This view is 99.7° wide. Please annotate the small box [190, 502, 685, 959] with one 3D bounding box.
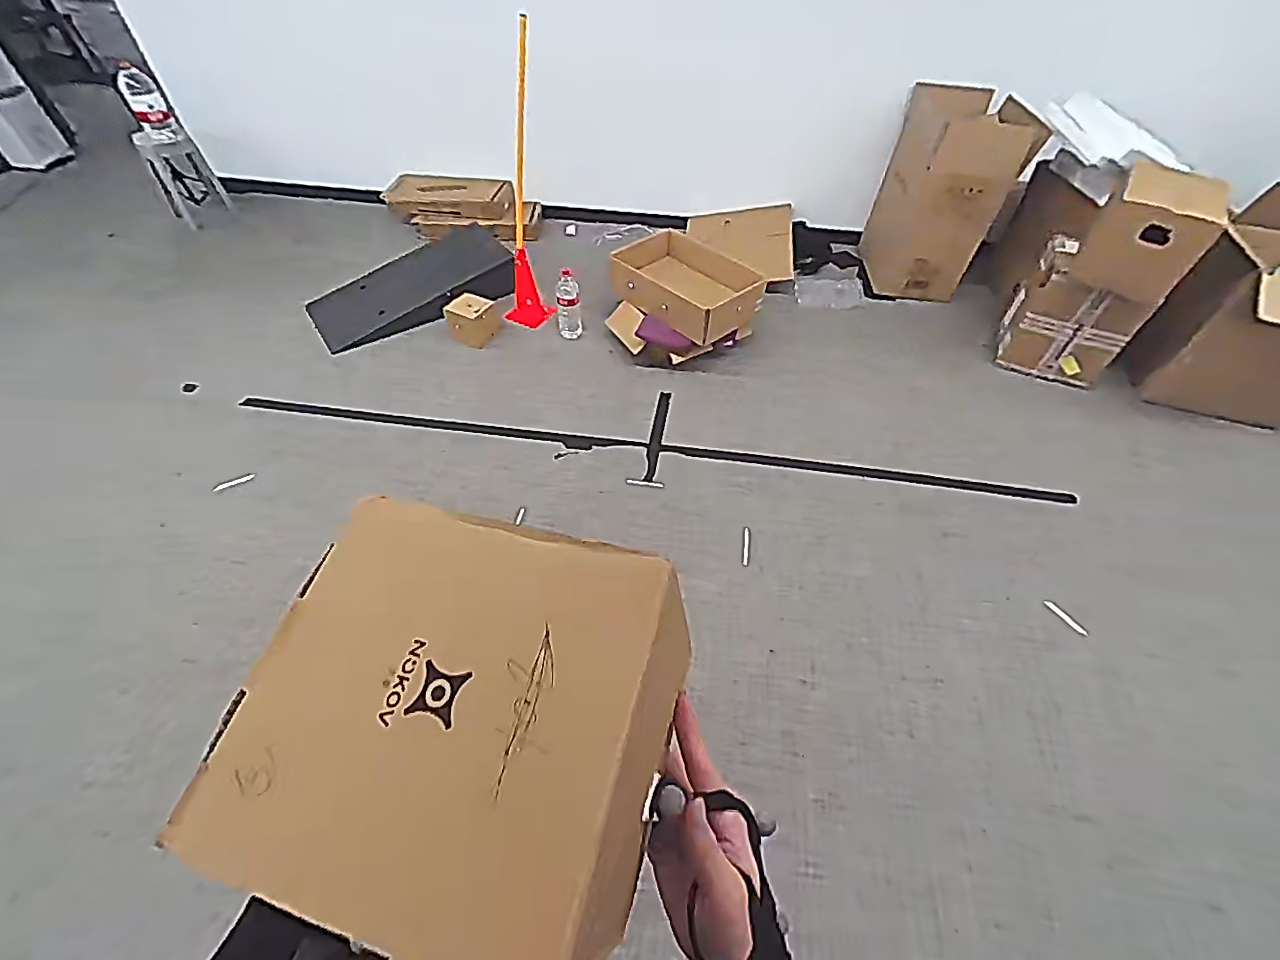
[{"bbox_3d":[-0.078,0.135,0.312,0.179,0.176,0.168,10,61,13],"label":"small box"}]
